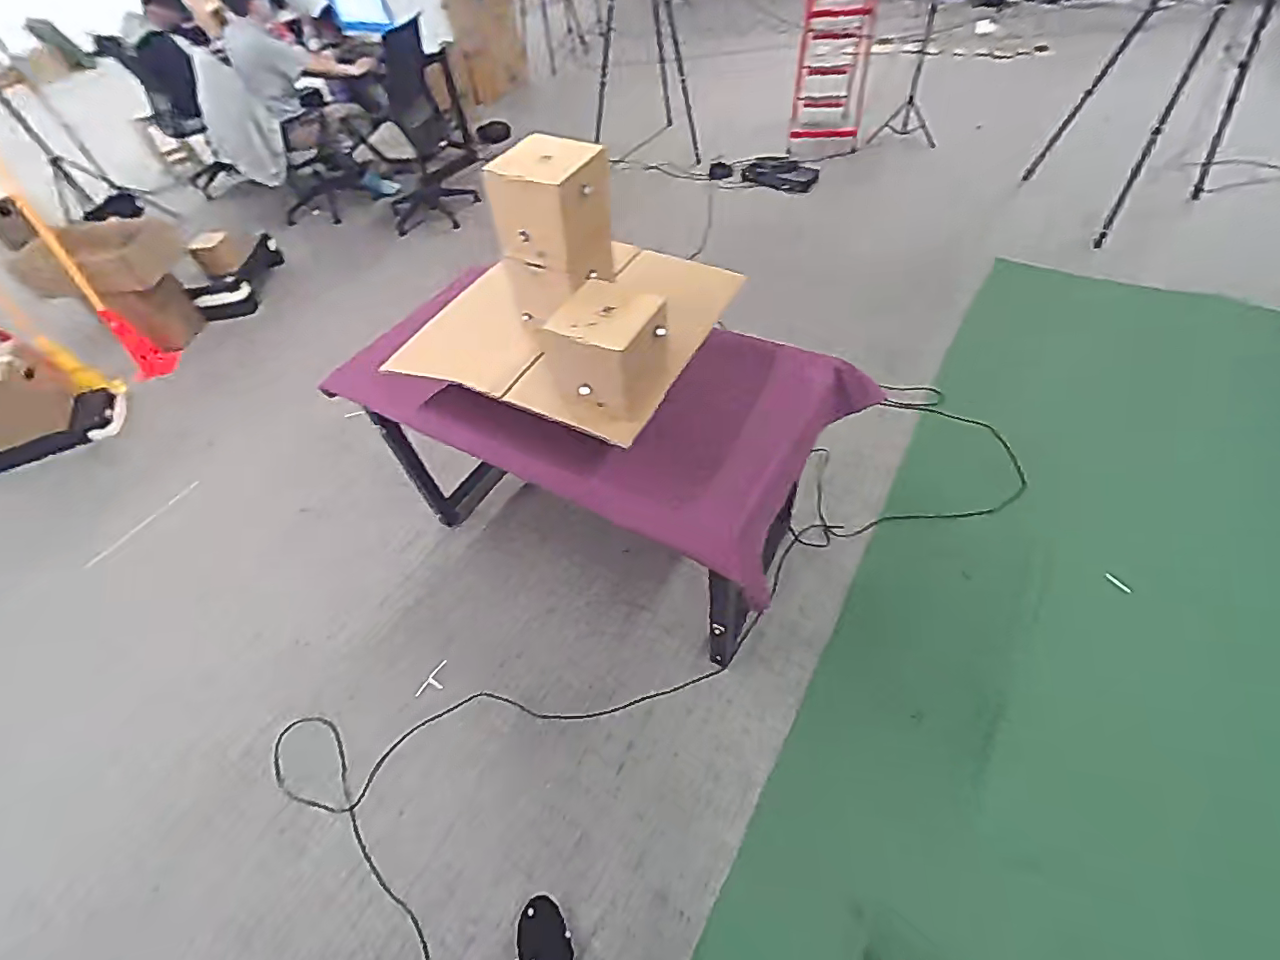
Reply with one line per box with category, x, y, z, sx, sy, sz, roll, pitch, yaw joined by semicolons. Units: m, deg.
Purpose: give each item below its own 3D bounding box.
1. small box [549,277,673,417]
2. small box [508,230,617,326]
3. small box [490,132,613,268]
small box;-0.049;-0.254;1.037;0.168;0.176;0.179;22;57;20
small box;-0.158;-0.443;1.187;0.168;0.176;0.179;22;56;18
small box;-0.163;-0.547;1.063;0.168;0.176;0.179;21;58;18
